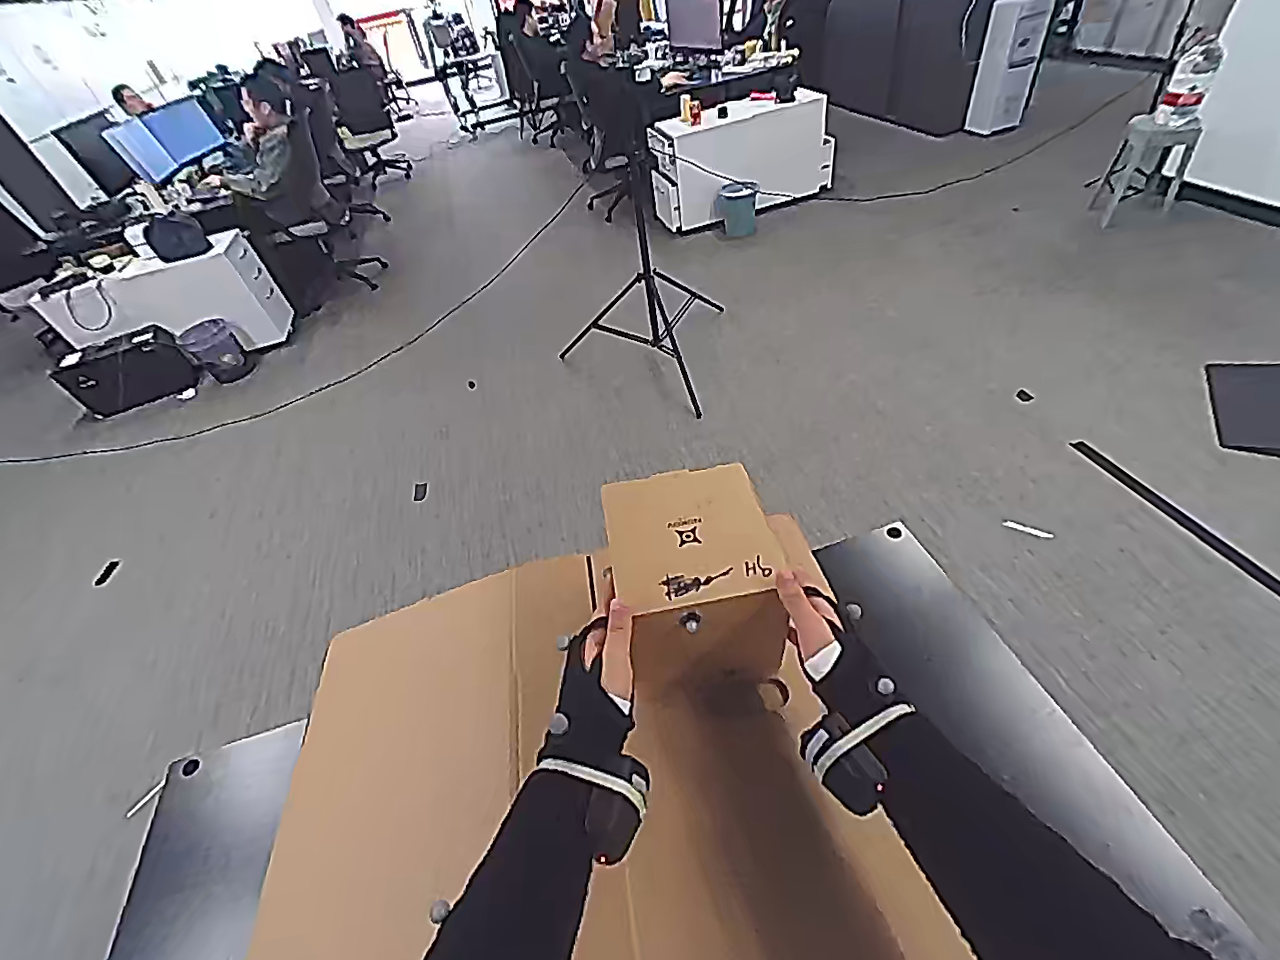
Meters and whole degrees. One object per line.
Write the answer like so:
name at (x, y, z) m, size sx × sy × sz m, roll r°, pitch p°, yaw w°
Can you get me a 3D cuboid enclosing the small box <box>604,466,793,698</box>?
small box at (0.057, 0.113, 0.606) m, size 0.168 × 0.176 × 0.179 m, roll -10°, pitch 43°, yaw -2°
